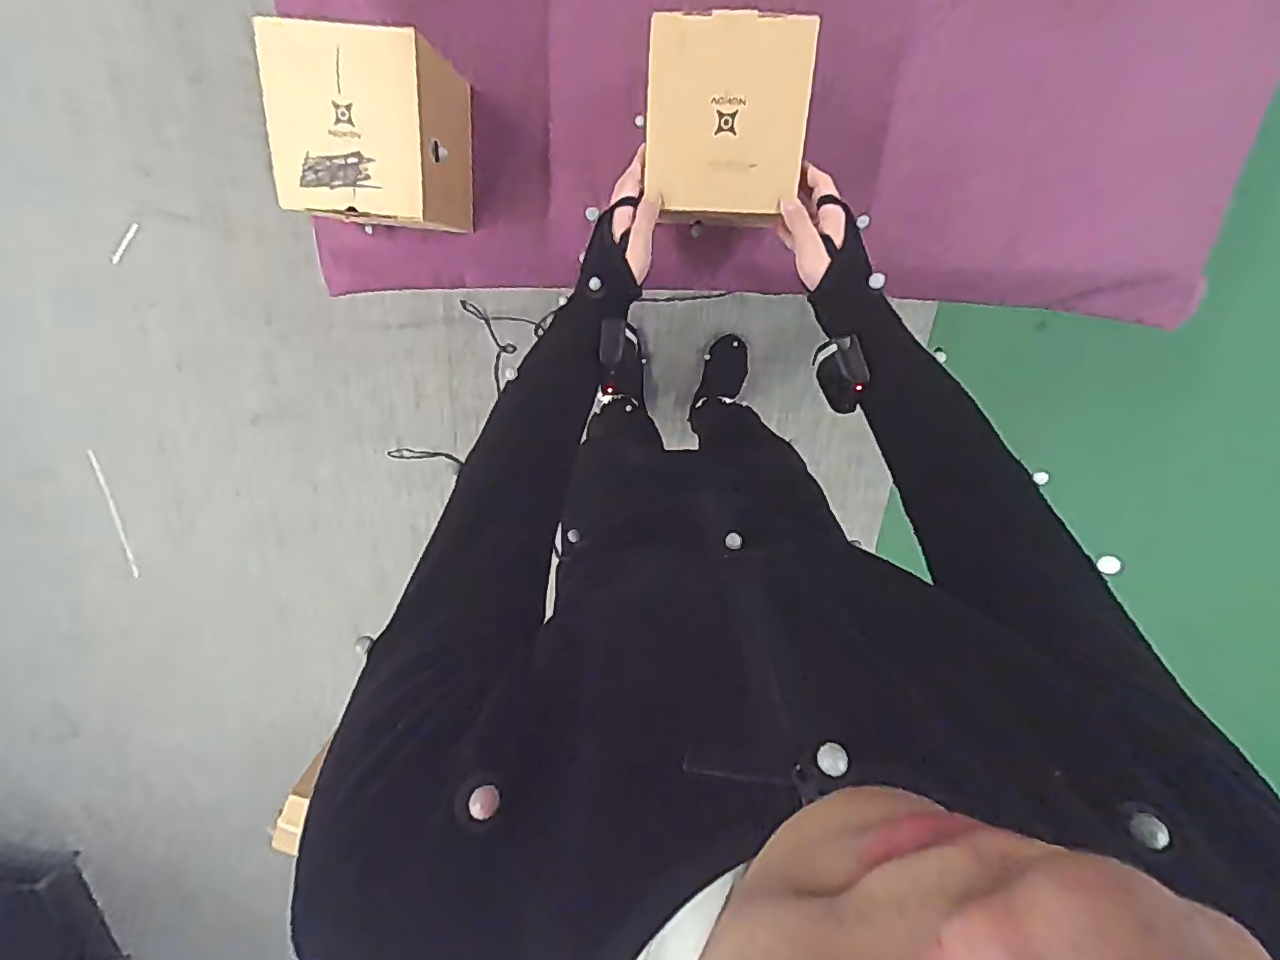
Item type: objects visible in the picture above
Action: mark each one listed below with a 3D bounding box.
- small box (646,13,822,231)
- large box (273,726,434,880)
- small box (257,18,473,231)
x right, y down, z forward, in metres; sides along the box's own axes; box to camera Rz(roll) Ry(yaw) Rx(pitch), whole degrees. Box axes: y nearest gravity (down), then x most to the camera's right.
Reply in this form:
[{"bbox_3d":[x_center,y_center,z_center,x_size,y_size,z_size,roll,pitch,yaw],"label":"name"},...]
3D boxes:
[{"bbox_3d":[0.095,-0.396,0.628,0.168,0.176,0.179,4,111,2],"label":"small box"},{"bbox_3d":[-1.067,1.209,2.043,0.408,0.320,0.320,25,111,-8],"label":"large box"},{"bbox_3d":[-0.304,-0.400,0.642,0.168,0.176,0.179,5,110,0],"label":"small box"}]
